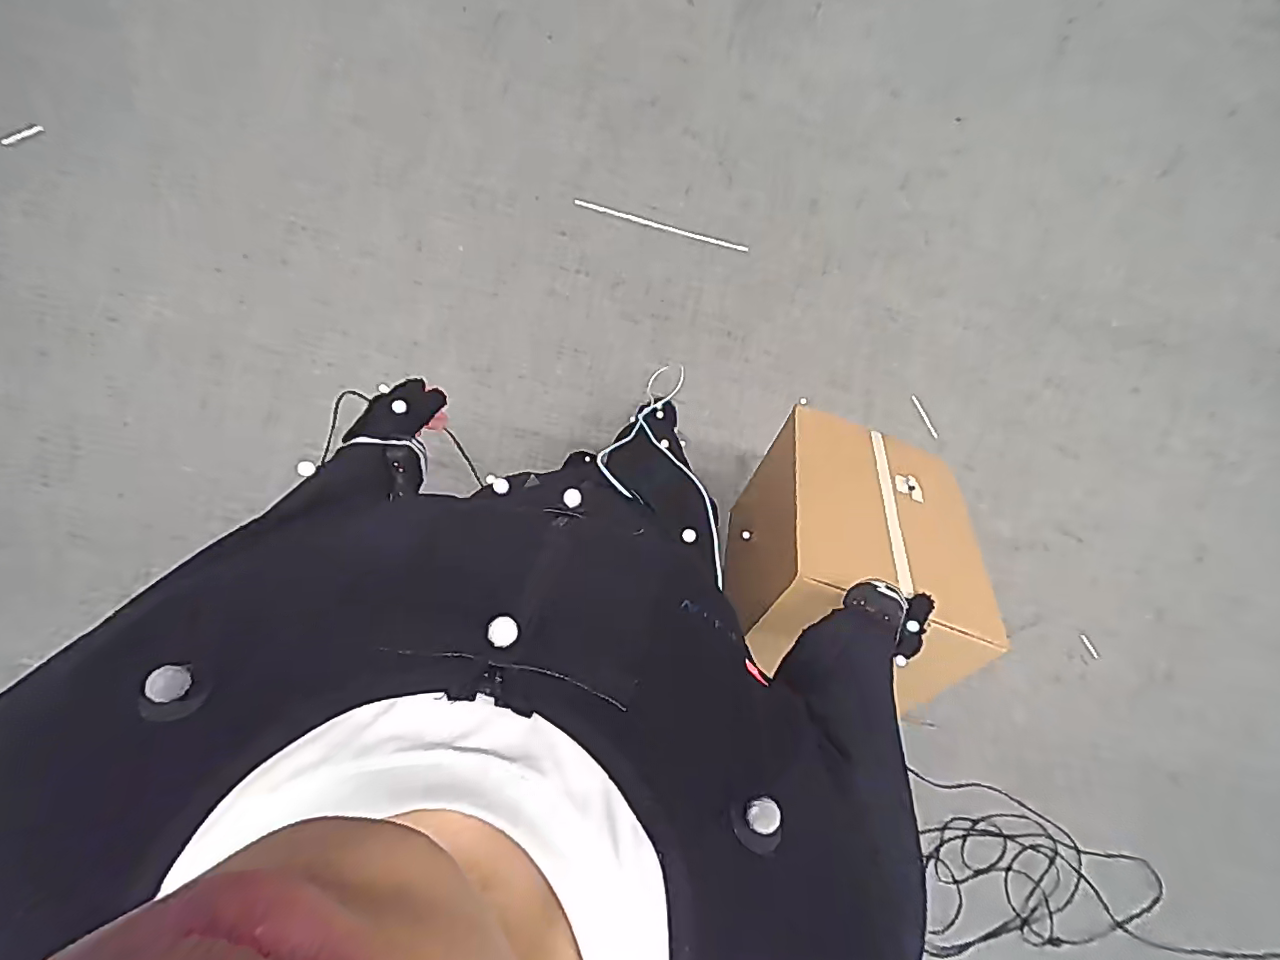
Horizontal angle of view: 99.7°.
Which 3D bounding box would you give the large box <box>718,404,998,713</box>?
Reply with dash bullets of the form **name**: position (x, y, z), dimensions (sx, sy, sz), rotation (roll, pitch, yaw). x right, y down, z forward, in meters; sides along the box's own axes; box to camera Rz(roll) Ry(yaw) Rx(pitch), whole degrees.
- **large box**: position (0.350, 0.138, 0.981), dimensions (0.320, 0.408, 0.320), rotation (21, 134, -4)
